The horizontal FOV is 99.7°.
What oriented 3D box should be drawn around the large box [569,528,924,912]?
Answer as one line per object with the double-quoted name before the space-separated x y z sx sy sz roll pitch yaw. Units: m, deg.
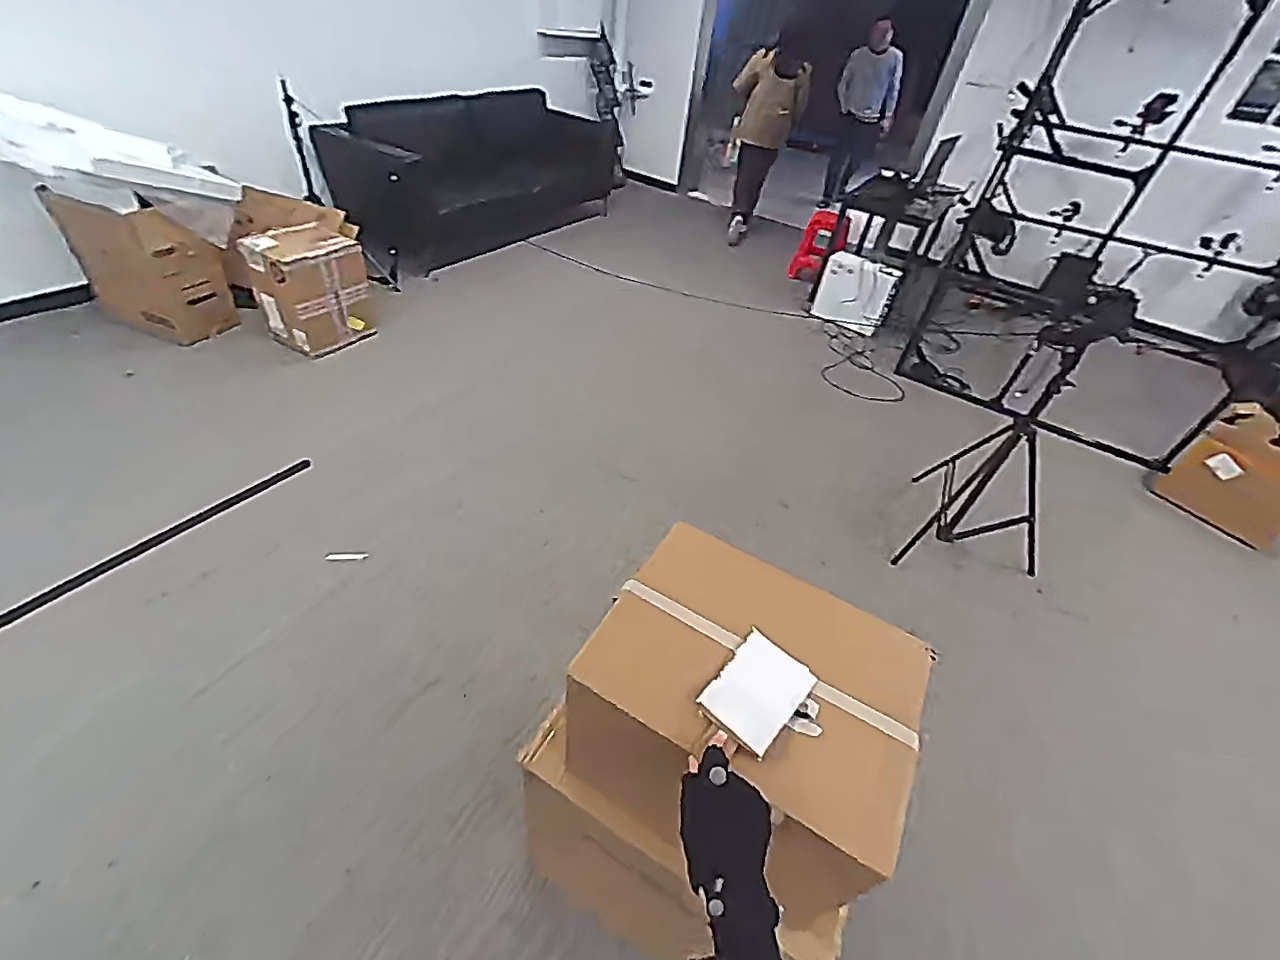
"large box" 0.142 0.346 0.825 0.408 0.320 0.320 26 46 17
